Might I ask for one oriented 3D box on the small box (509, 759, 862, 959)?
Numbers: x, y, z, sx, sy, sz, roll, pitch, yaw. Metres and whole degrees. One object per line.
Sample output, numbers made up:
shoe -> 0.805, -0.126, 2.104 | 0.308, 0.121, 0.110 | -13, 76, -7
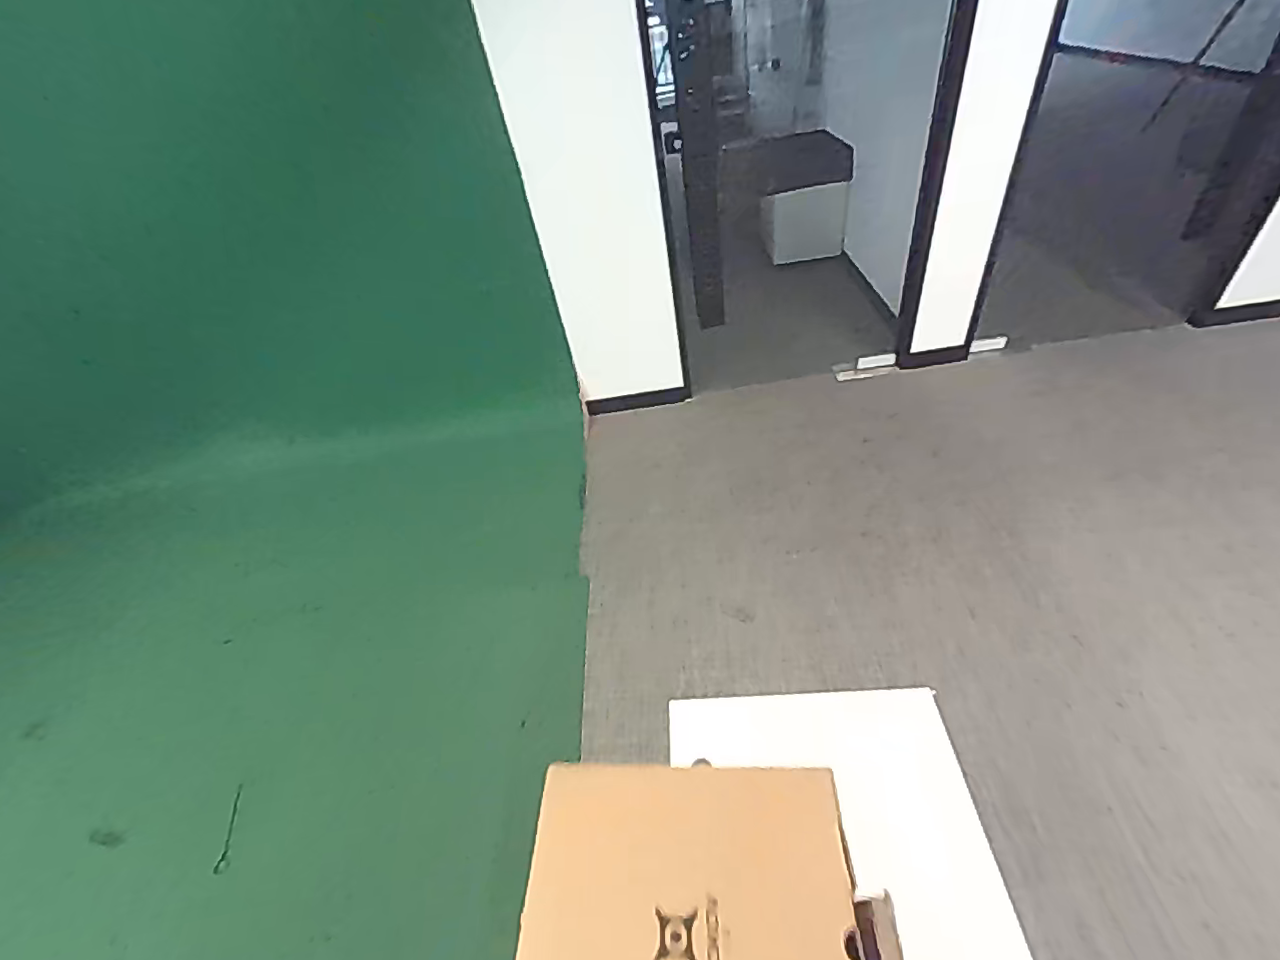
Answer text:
small box -> 0.031, 0.286, 0.325 | 0.179, 0.176, 0.168 | -3, 42, 8
